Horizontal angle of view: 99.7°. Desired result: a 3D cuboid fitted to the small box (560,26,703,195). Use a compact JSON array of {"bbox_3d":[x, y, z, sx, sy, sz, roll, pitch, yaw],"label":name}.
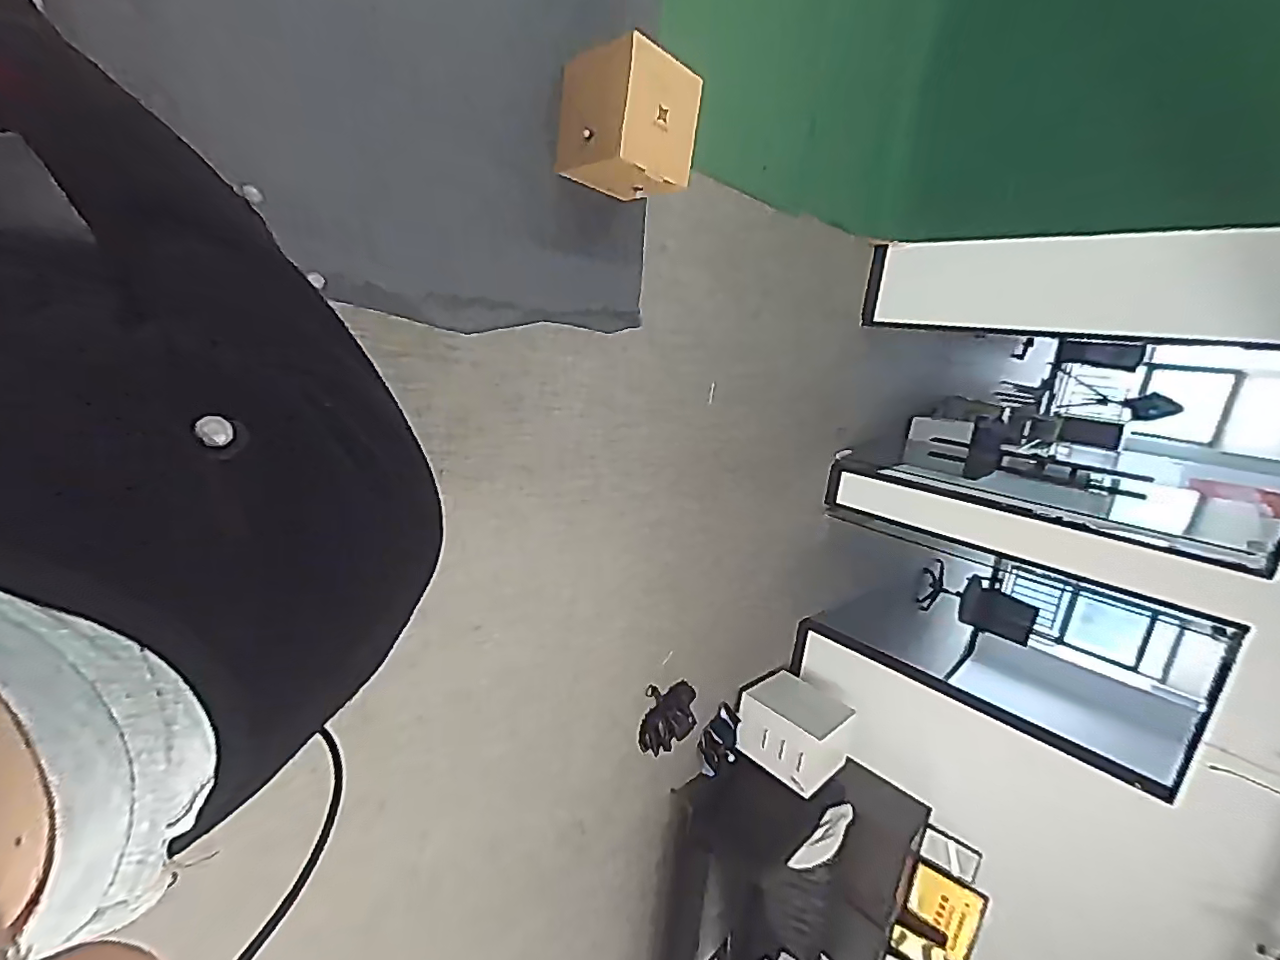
[{"bbox_3d":[-0.019,-0.600,0.912,0.168,0.176,0.179,-7,108,-45],"label":"small box"}]
